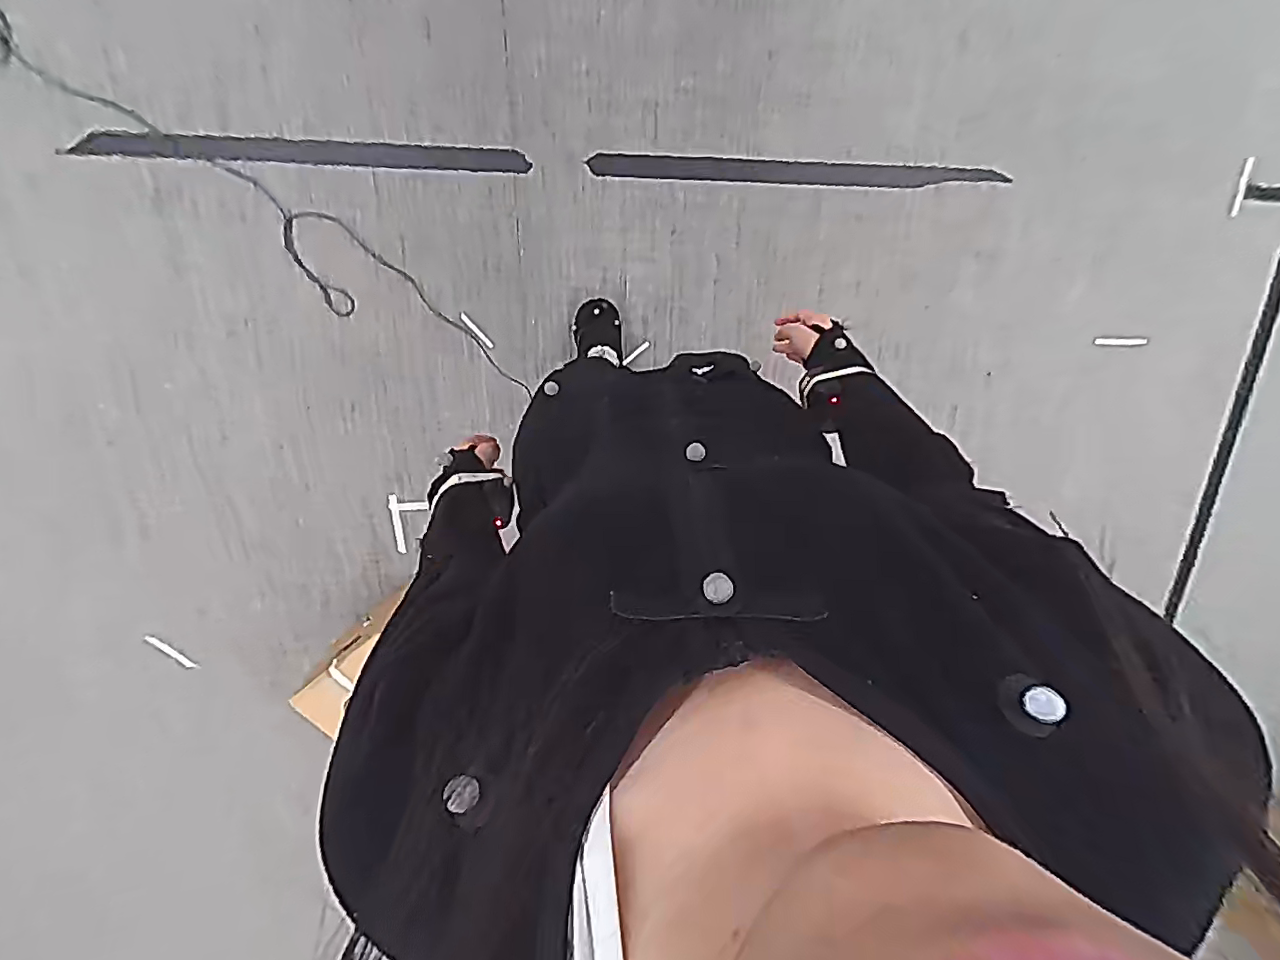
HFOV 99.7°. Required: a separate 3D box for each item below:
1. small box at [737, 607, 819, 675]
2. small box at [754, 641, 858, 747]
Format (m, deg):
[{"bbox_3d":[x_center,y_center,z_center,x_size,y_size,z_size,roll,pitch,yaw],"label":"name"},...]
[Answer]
[{"bbox_3d":[0.415,0.511,1.594,0.168,0.176,0.179,-43,105,9],"label":"small box"},{"bbox_3d":[0.432,0.558,1.440,0.179,0.176,0.168,40,102,-16],"label":"small box"}]
